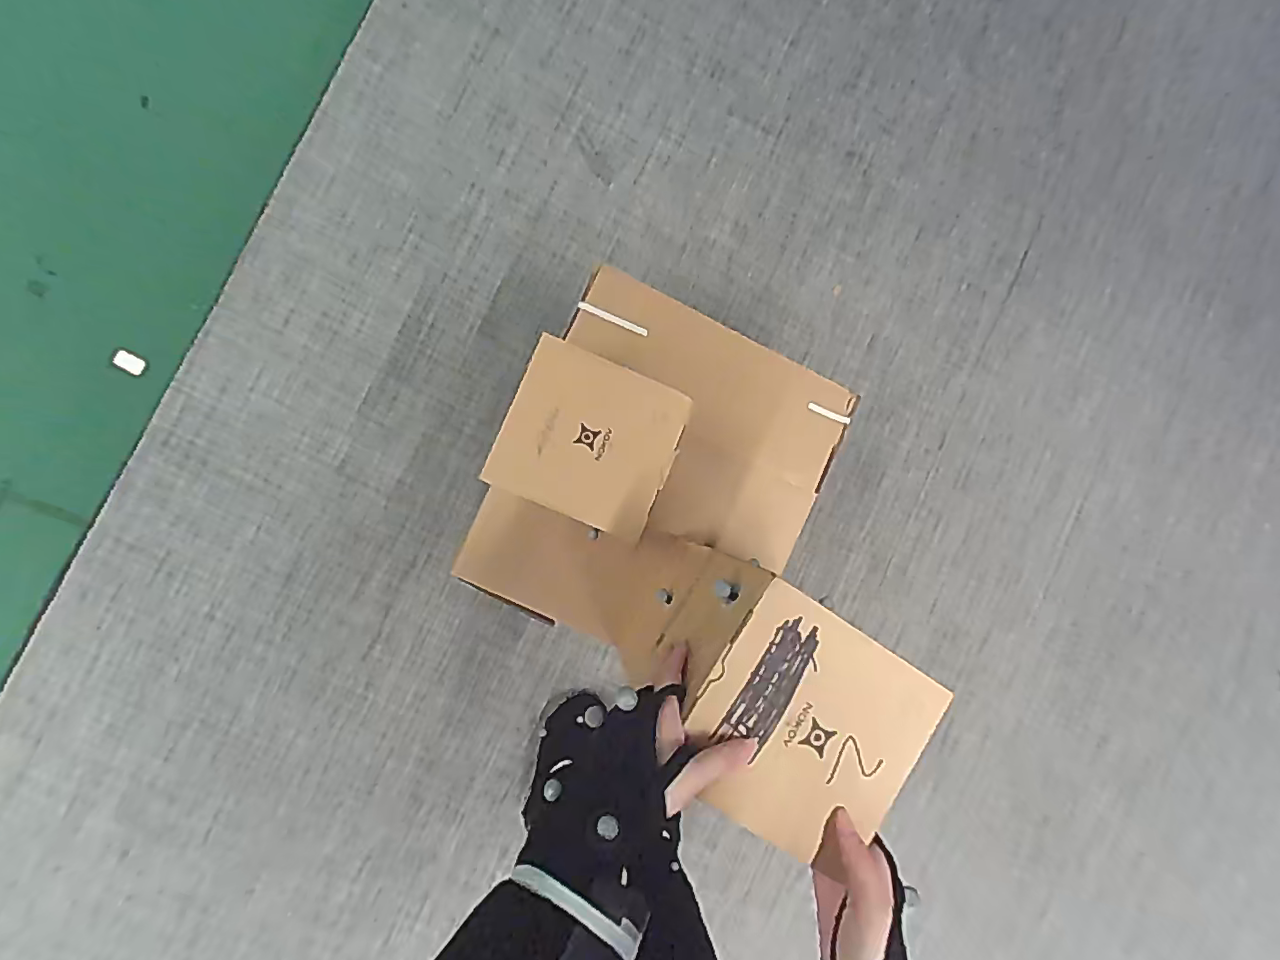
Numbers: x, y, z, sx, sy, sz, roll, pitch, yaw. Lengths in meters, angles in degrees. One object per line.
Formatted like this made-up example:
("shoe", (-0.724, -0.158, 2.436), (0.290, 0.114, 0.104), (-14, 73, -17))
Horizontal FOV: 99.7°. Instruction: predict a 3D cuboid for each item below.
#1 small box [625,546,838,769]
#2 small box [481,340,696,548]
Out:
("small box", (0.093, 0.191, 0.641), (0.168, 0.176, 0.179), (29, 84, -6))
("small box", (-0.059, -0.034, 0.633), (0.179, 0.176, 0.168), (23, 84, -5))
